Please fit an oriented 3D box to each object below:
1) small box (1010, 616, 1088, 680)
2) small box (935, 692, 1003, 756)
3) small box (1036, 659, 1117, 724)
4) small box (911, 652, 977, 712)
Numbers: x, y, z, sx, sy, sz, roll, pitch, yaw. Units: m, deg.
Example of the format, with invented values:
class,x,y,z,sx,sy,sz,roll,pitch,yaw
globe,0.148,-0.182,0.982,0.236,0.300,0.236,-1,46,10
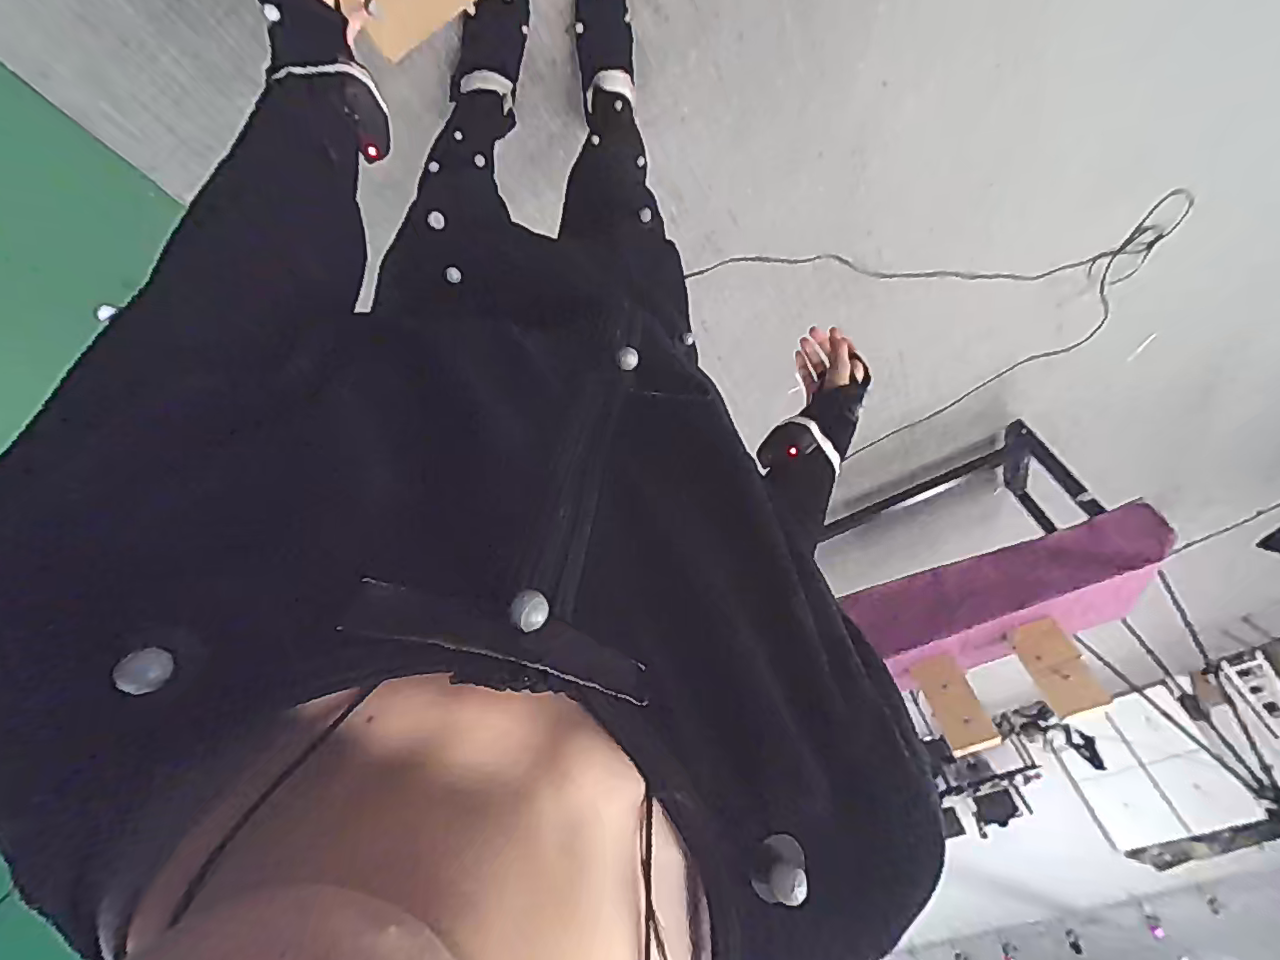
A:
class,x,y,z,sx,sy,sz,roll,pitch,yaw
small box,1.565,0.644,2.080,0.179,0.176,0.168,-27,140,17
small box,1.258,0.937,2.078,0.179,0.176,0.168,-28,139,15
small box,1.592,0.775,1.983,0.168,0.176,0.179,-28,140,17
small box,1.226,0.812,2.180,0.179,0.176,0.168,-26,139,16
